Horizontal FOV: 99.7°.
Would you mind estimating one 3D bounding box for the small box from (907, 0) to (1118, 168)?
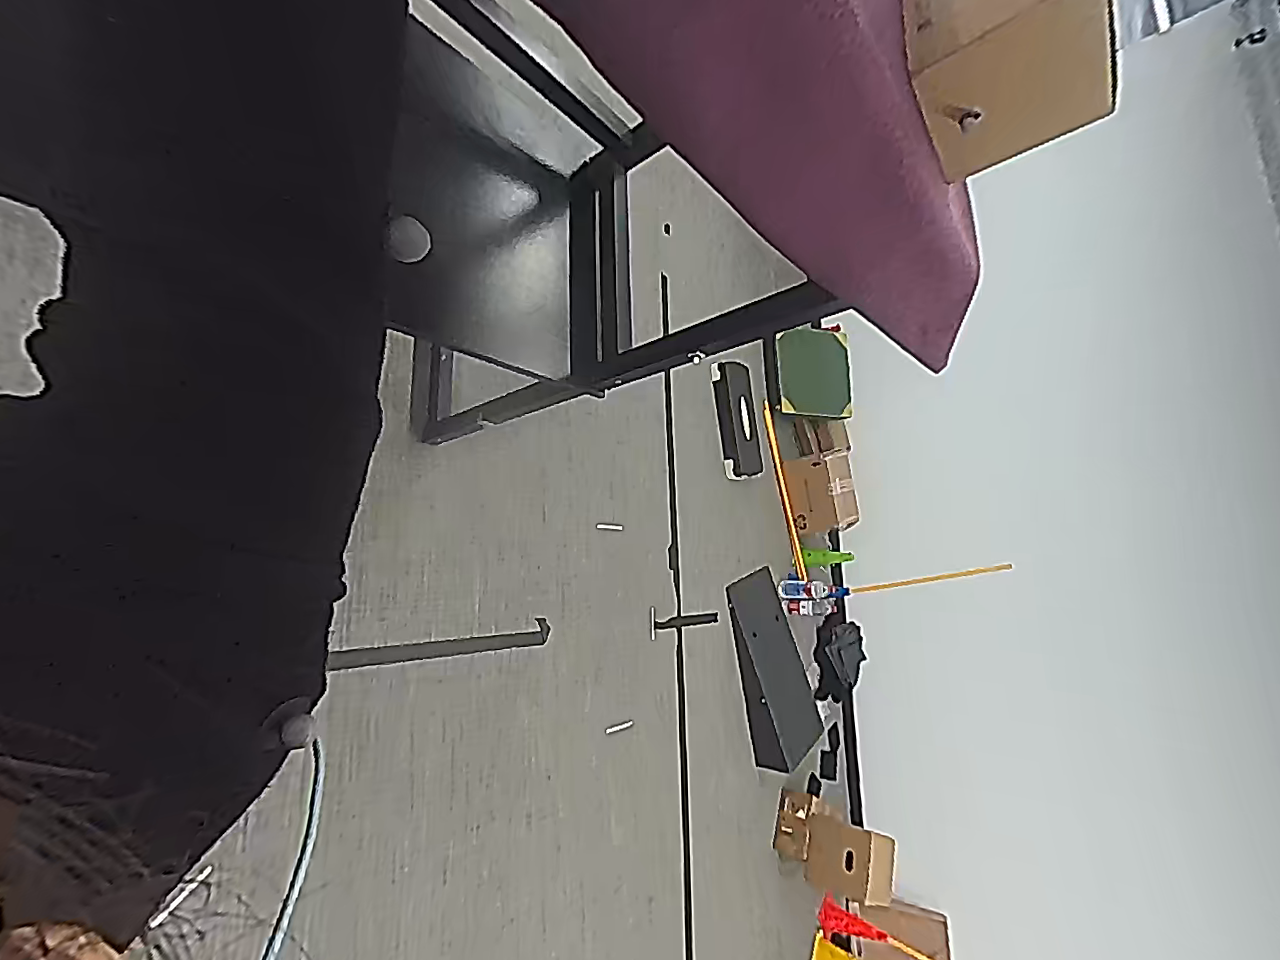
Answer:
[{"bbox_3d":[0.412,-0.492,0.608,0.179,0.176,0.168,24,64,-45],"label":"small box"}]
